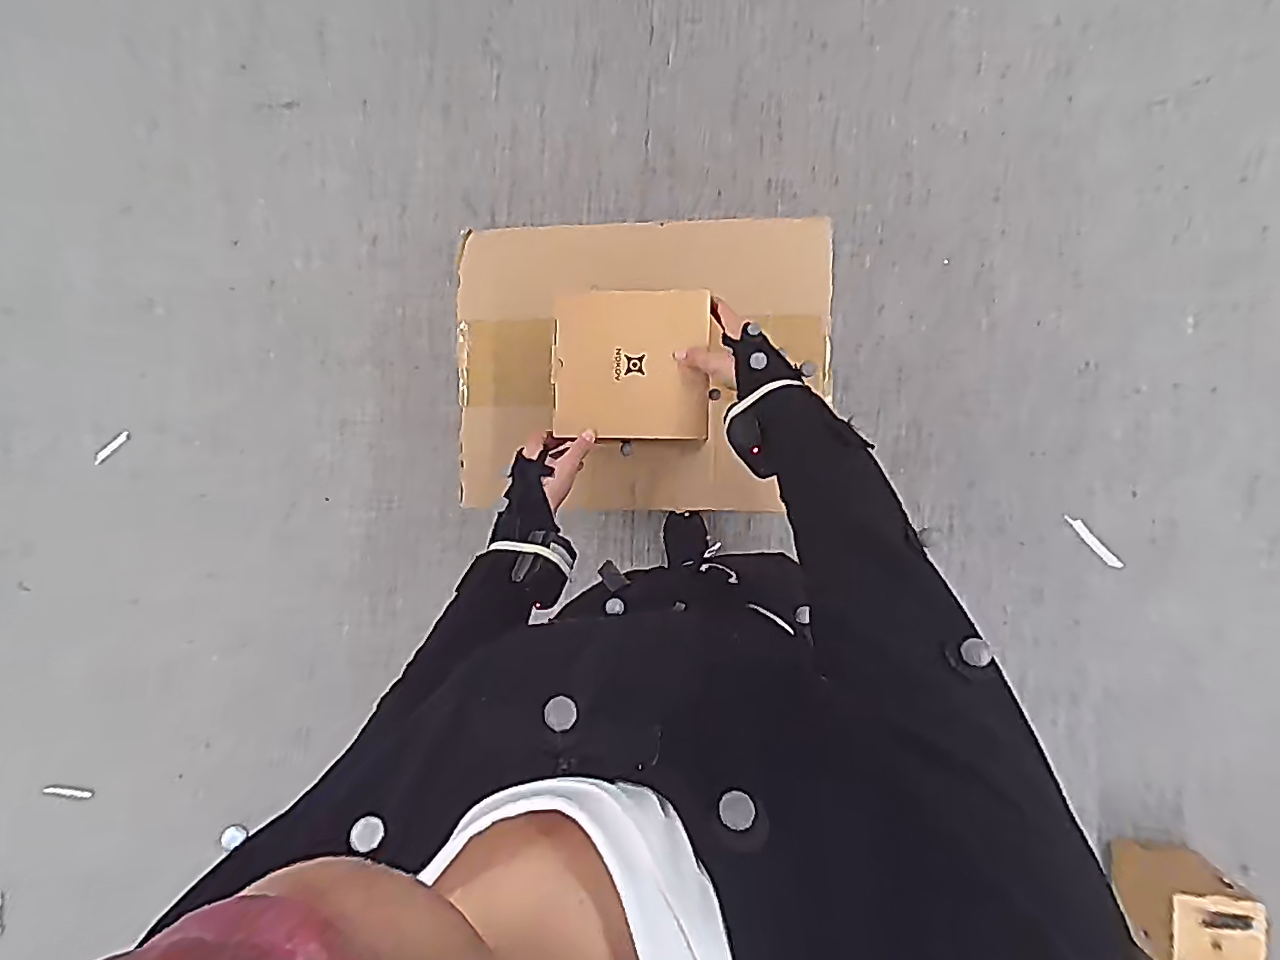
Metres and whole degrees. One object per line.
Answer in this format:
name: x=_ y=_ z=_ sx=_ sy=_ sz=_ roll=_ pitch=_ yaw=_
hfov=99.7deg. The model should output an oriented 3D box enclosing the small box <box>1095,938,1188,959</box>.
small box: x=1.132 y=1.141 z=1.166 sx=0.179 sy=0.176 sz=0.168 roll=2 pitch=90 yaw=7
